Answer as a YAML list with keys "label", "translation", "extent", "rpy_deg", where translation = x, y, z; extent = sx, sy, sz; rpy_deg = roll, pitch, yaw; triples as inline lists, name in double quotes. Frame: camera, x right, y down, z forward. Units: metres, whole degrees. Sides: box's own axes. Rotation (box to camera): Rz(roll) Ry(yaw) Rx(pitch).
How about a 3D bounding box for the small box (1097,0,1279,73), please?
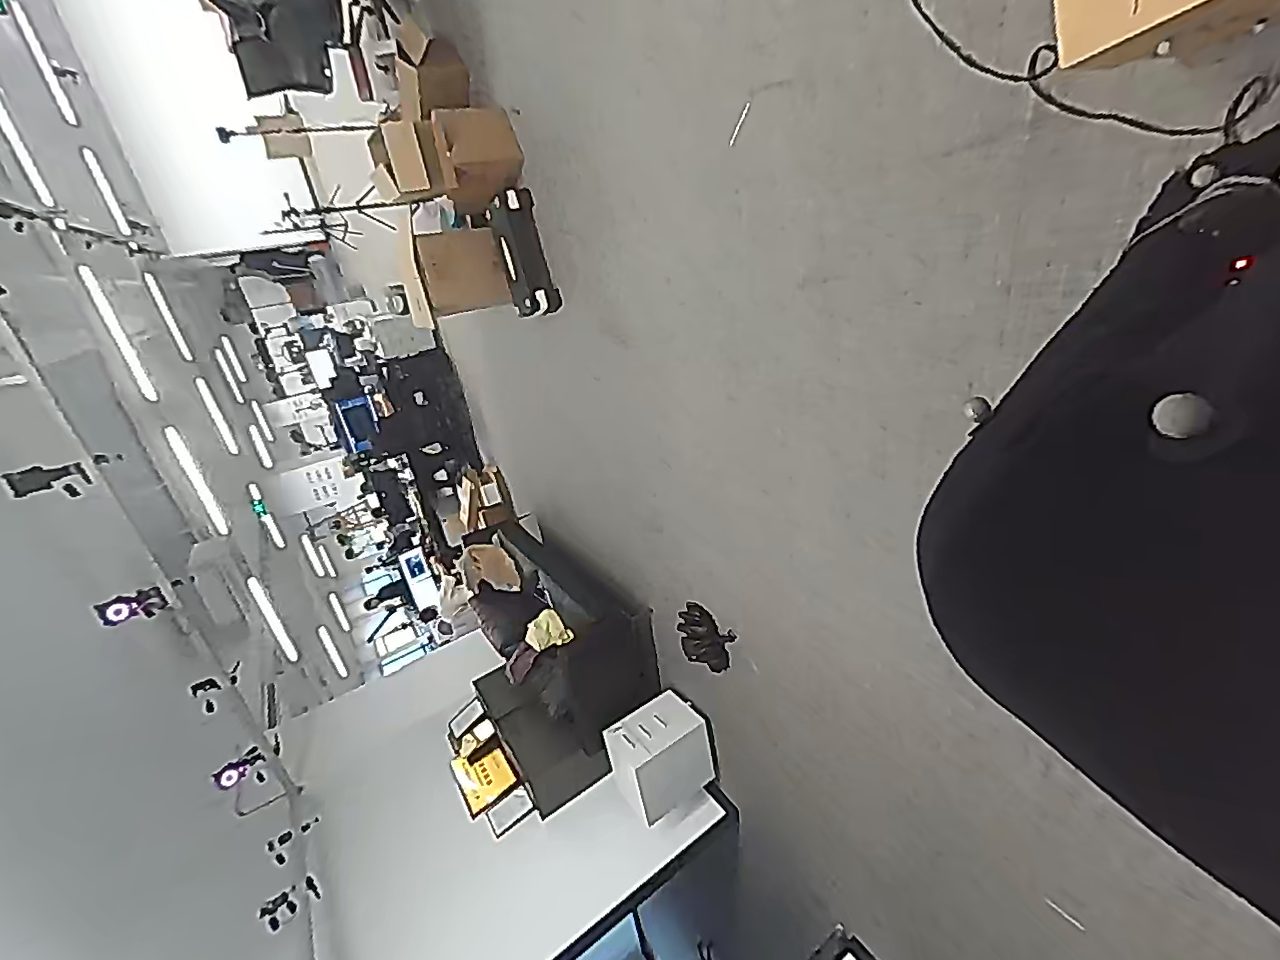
- label: "small box"
  translation: [0.773, -0.710, 0.749]
  extent: [0.168, 0.176, 0.179]
  rpy_deg: [4, 113, 62]
